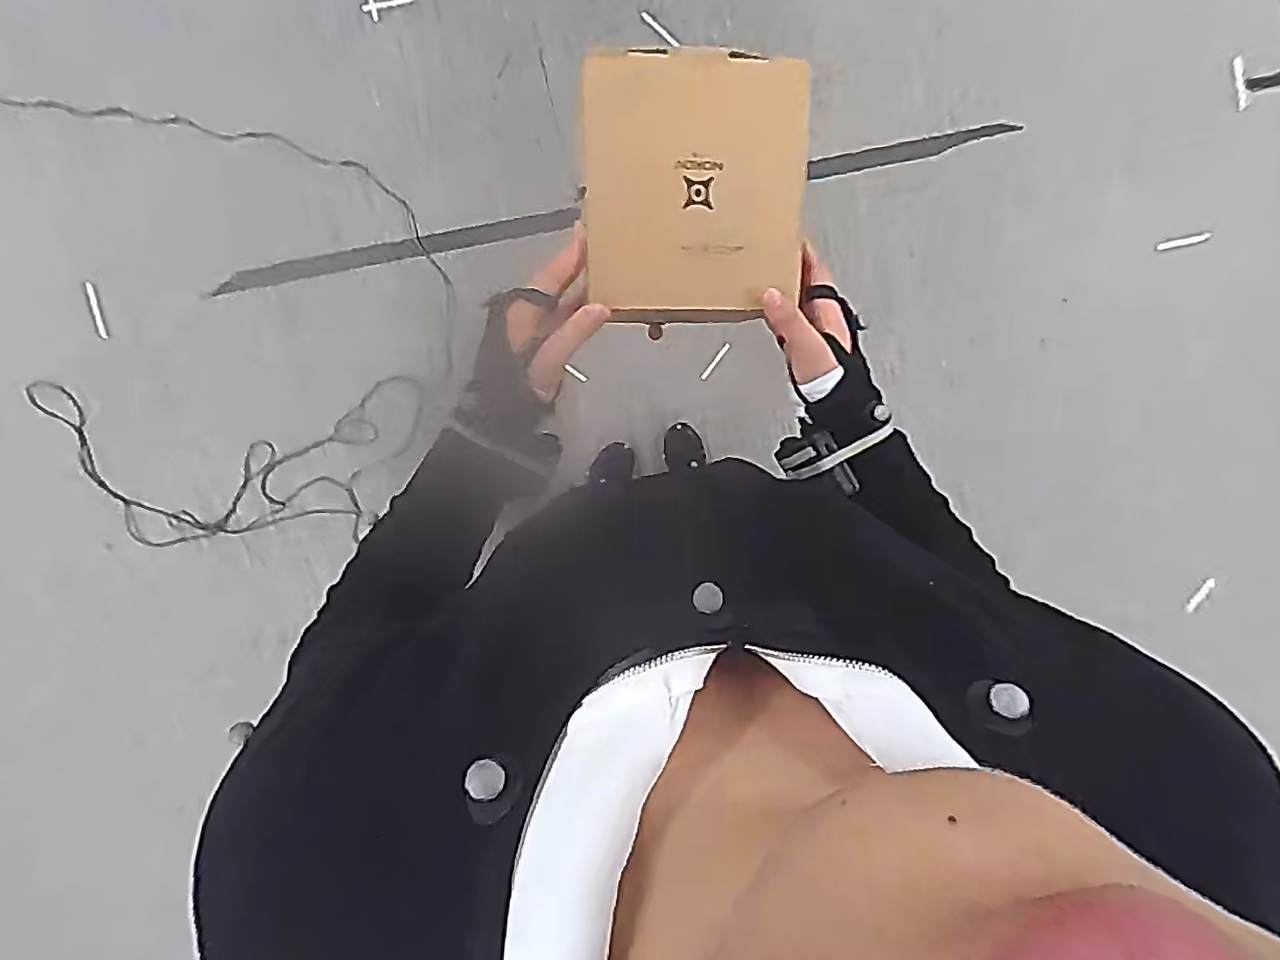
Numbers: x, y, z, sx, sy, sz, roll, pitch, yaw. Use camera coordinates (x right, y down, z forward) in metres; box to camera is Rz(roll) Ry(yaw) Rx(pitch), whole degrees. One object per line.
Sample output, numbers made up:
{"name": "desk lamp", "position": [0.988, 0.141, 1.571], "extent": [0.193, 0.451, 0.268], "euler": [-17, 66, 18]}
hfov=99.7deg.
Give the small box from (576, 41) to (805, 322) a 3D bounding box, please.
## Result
{"name": "small box", "position": [0.030, -0.237, 0.477], "extent": [0.168, 0.176, 0.179], "euler": [-3, 103, -7]}
